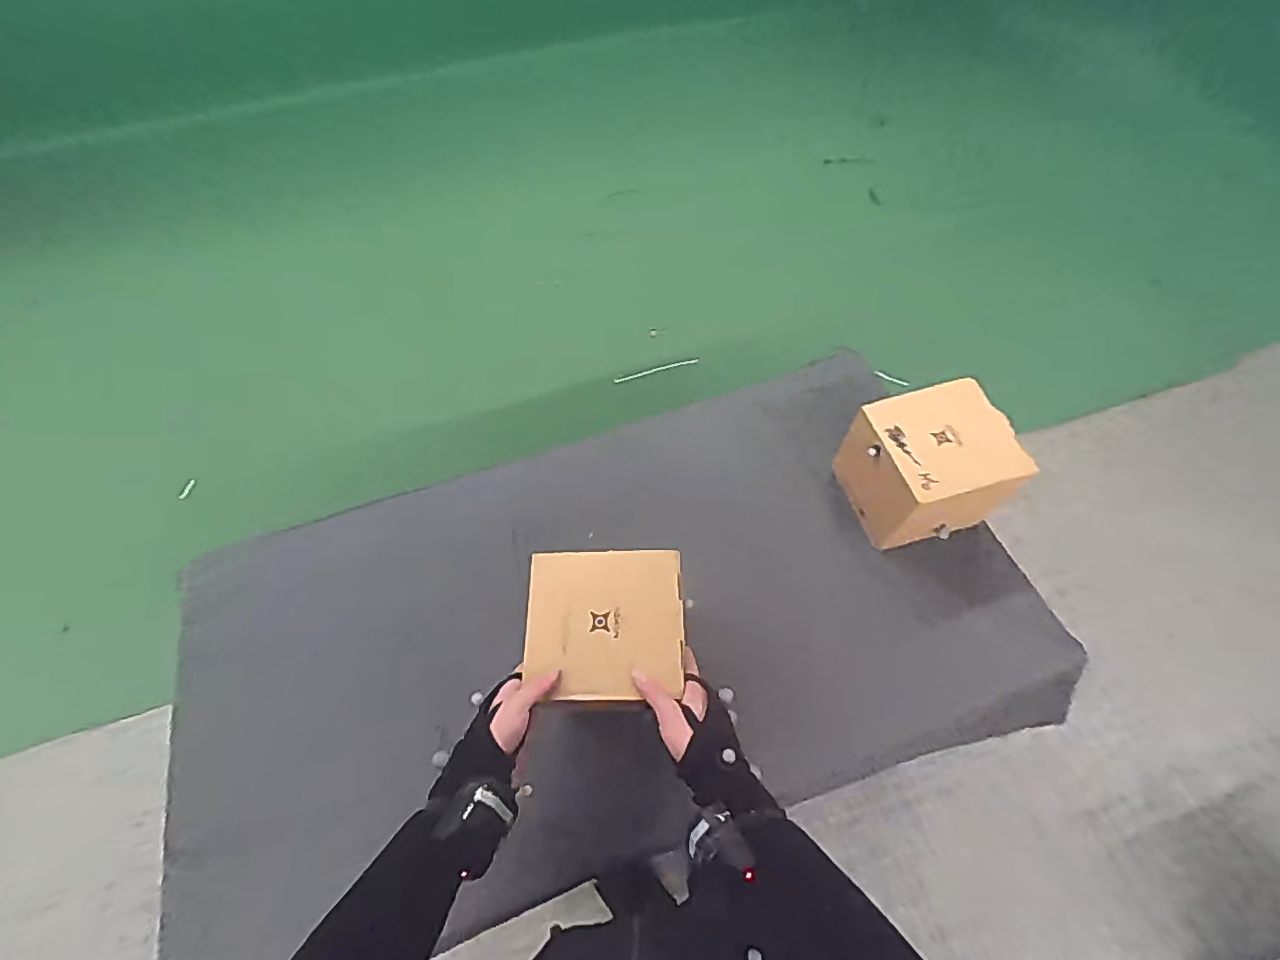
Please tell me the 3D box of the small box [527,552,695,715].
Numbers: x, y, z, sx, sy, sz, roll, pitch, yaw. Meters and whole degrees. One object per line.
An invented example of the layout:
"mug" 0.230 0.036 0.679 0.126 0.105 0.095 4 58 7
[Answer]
"small box" -0.026 0.192 0.661 0.179 0.176 0.168 -2 63 4

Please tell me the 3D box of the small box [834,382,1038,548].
"small box" 0.422 -0.017 0.806 0.179 0.176 0.168 -13 62 -7
